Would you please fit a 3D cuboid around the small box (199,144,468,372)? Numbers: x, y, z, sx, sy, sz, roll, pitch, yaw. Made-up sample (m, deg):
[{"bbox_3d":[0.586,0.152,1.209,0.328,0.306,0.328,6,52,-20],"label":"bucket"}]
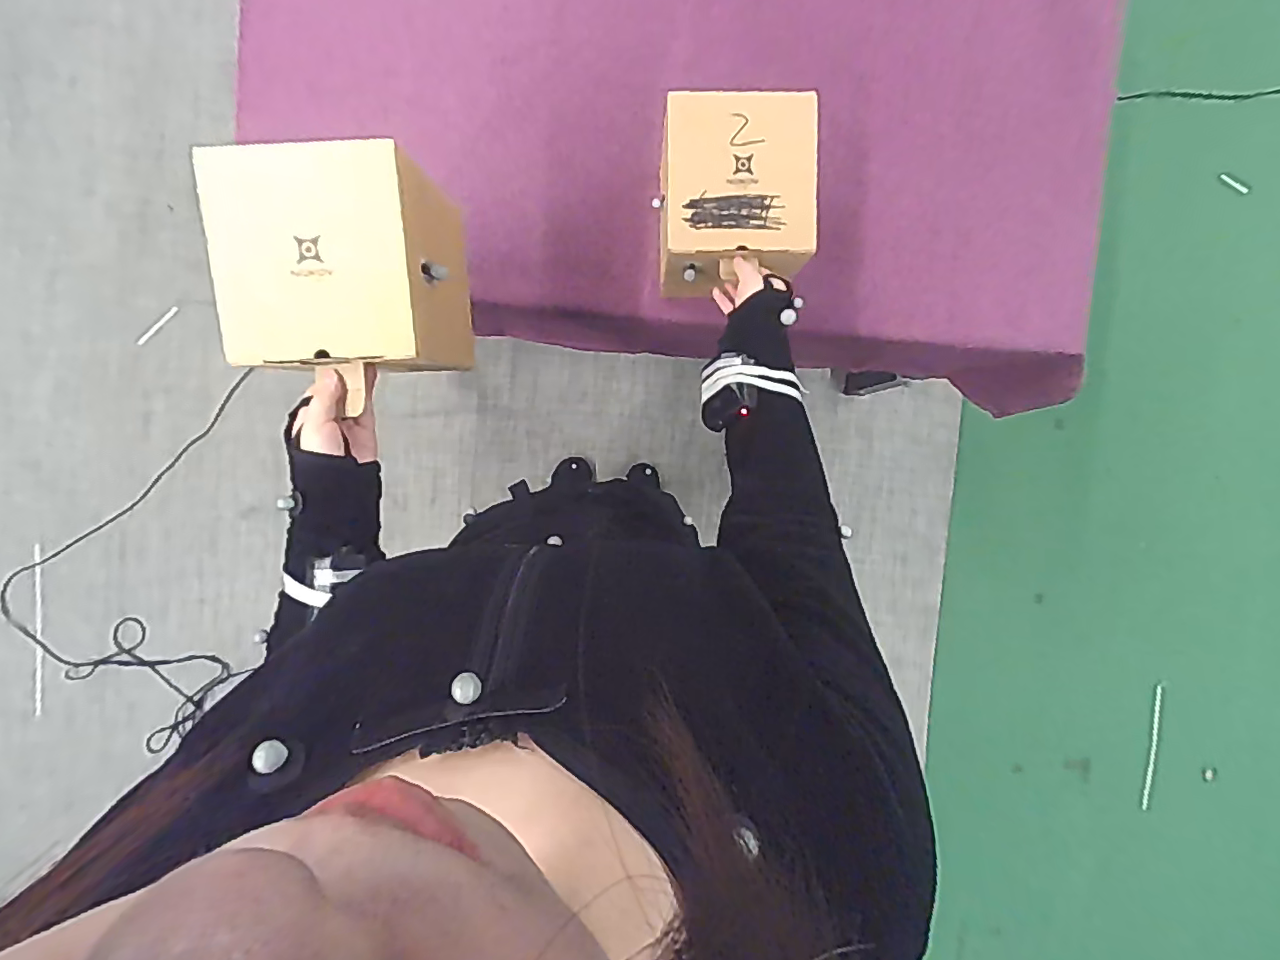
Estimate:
[{"bbox_3d":[-0.280,-0.202,0.537,0.168,0.176,0.179,-2,100,-1],"label":"small box"}]
